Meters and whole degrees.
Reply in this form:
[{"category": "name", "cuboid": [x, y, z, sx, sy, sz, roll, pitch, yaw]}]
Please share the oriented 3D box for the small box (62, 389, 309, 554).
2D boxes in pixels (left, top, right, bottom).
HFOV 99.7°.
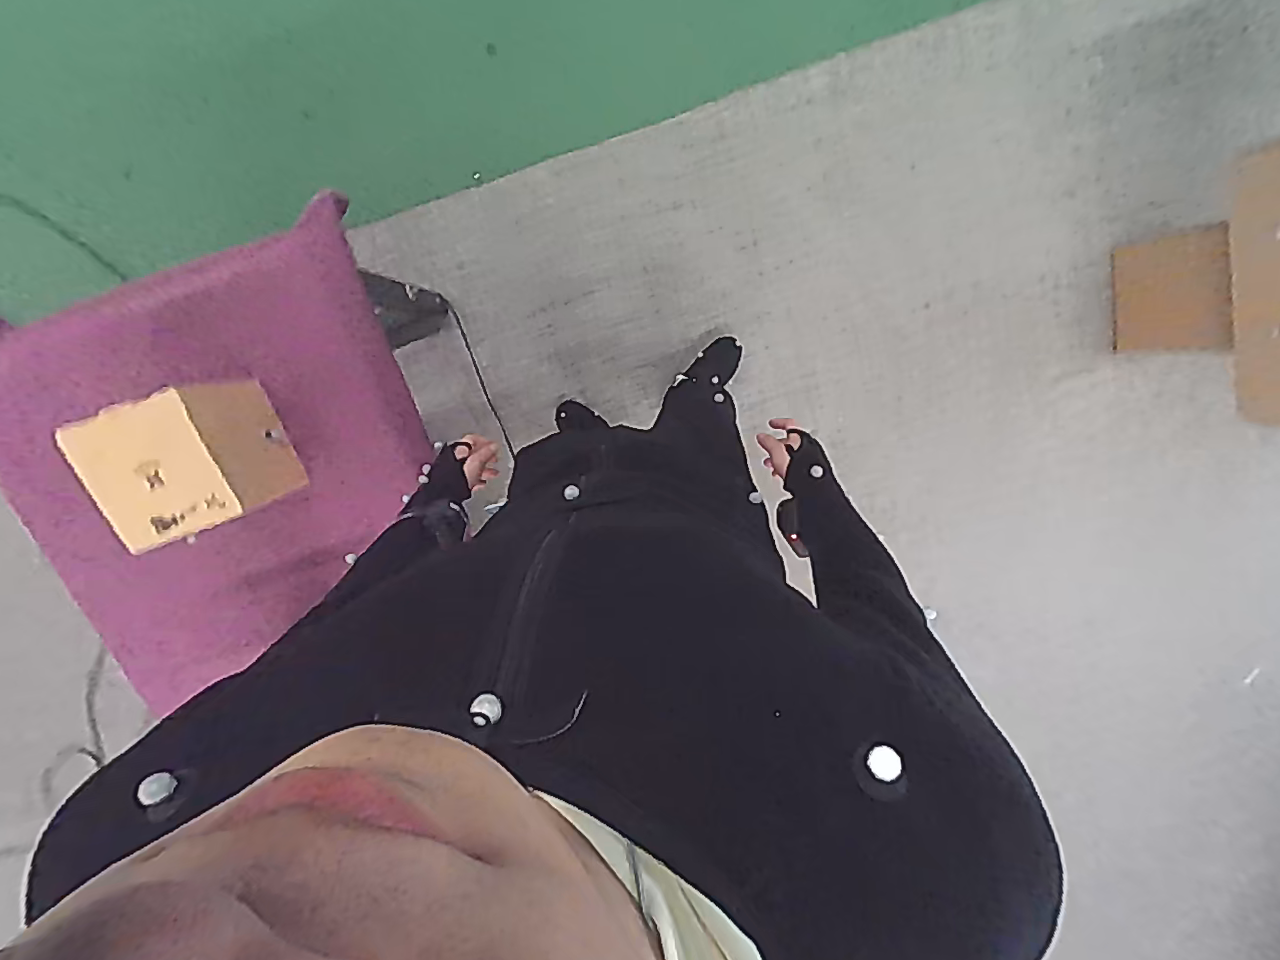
[{"category": "small box", "cuboid": [-0.624, -0.023, 0.770, 0.168, 0.176, 0.179, -20, 103, 2]}]
